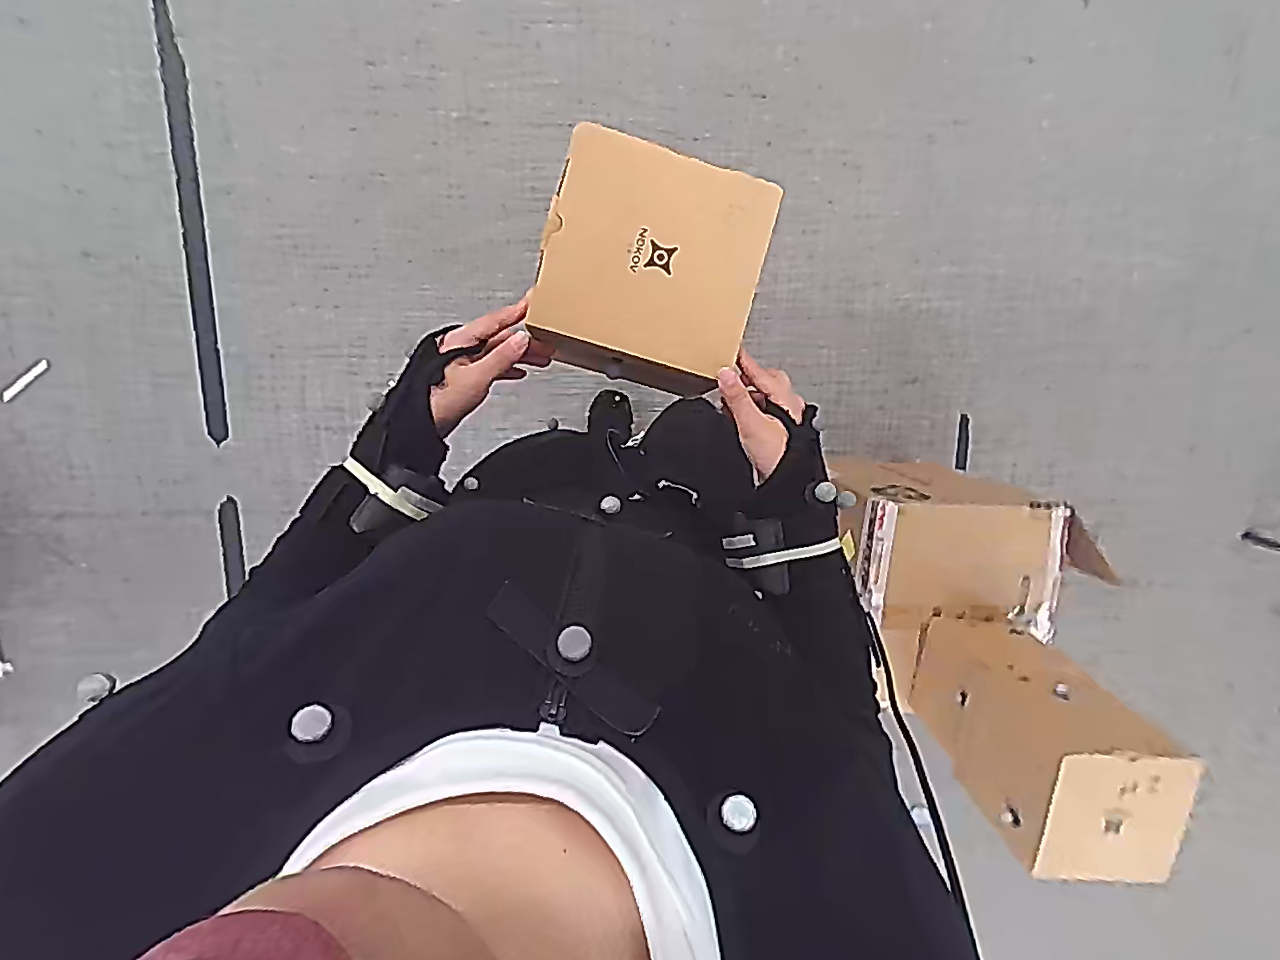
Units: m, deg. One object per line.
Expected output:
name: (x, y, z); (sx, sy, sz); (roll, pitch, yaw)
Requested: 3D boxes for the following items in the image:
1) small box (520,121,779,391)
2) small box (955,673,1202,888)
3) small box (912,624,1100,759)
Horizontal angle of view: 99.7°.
small box: (0.003, -0.185, 0.508); (0.179, 0.176, 0.168); (14, 93, -5)
small box: (0.543, 0.378, 0.700); (0.168, 0.176, 0.179); (4, 102, -2)
small box: (0.565, 0.349, 0.863); (0.168, 0.176, 0.179); (7, 103, -2)
